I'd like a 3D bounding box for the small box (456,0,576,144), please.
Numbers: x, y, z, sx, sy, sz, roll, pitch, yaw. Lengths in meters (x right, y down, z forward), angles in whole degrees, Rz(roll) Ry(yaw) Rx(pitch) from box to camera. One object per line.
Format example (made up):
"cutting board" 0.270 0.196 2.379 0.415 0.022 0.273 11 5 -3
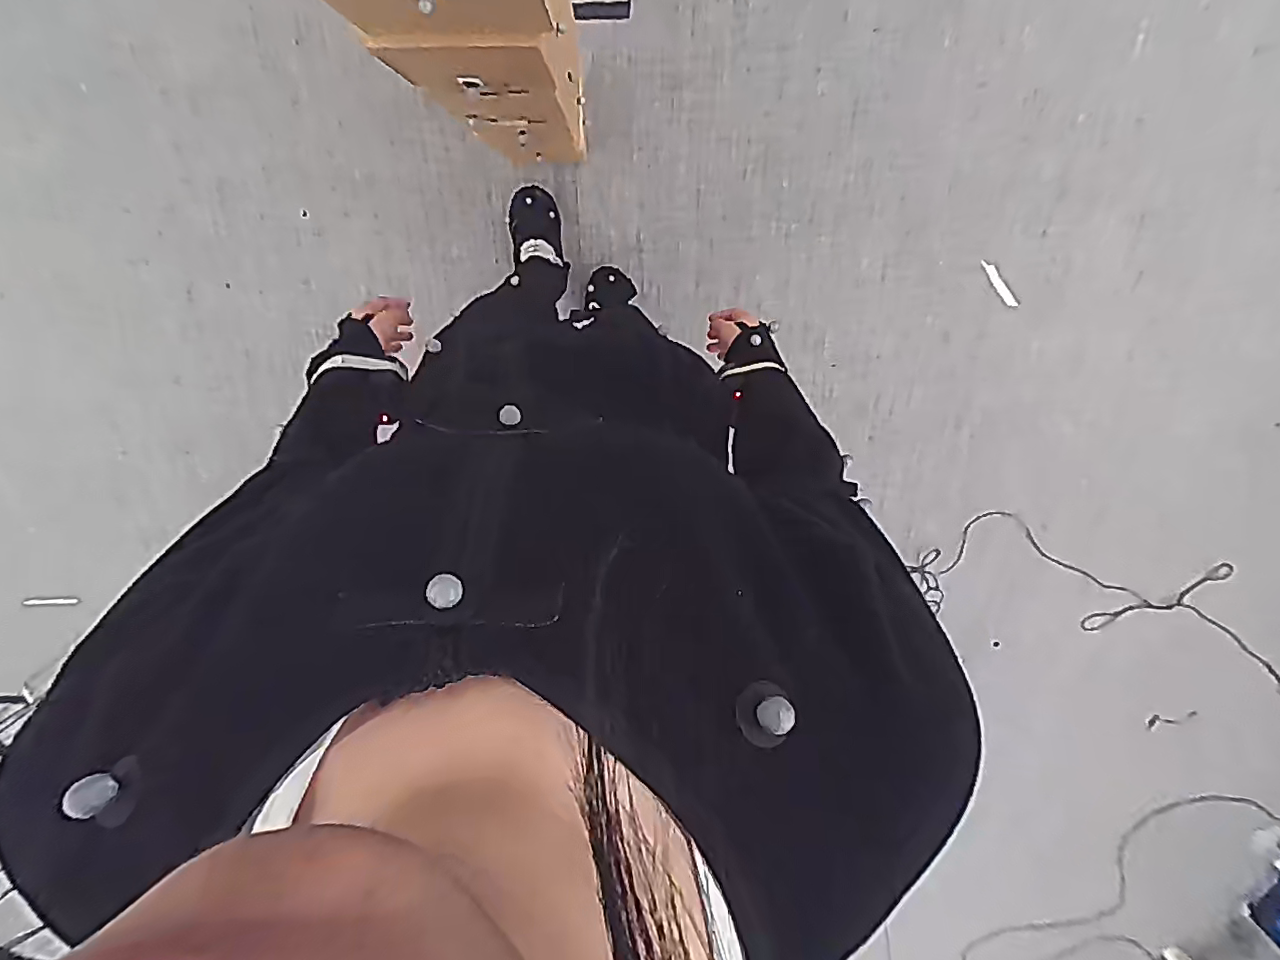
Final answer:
"small box" -0.186 -0.629 0.830 0.168 0.176 0.179 1 115 -3

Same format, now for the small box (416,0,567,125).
"small box" -0.182 -0.564 0.679 0.168 0.176 0.179 0 113 -3

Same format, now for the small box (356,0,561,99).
"small box" -0.171 -0.499 0.531 0.168 0.176 0.179 -1 115 -1

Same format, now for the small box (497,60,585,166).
"small box" -0.204 -0.761 1.129 0.179 0.176 0.168 -1 114 -3

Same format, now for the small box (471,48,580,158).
"small box" -0.203 -0.692 0.980 0.179 0.176 0.168 1 115 -3
